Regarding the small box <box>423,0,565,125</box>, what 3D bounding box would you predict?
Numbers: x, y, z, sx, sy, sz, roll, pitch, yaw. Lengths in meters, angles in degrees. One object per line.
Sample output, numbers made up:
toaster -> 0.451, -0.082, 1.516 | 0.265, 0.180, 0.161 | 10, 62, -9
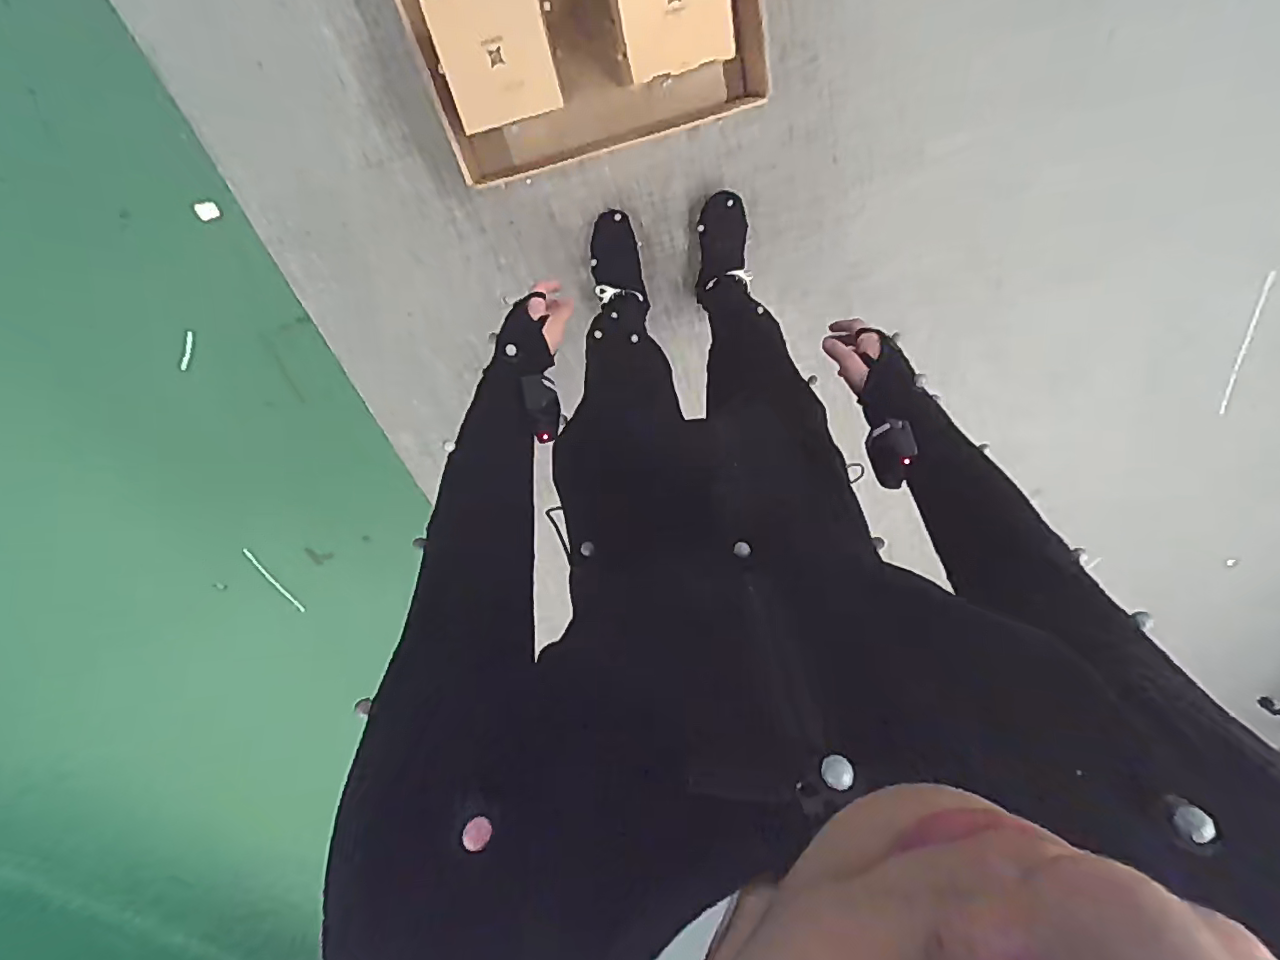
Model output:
small box -> -0.222, -0.687, 0.862 | 0.168, 0.176, 0.179 | -13, 126, 3

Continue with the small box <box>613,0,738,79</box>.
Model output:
small box -> 0.047, -0.754, 0.845 | 0.168, 0.176, 0.179 | -13, 126, 4
